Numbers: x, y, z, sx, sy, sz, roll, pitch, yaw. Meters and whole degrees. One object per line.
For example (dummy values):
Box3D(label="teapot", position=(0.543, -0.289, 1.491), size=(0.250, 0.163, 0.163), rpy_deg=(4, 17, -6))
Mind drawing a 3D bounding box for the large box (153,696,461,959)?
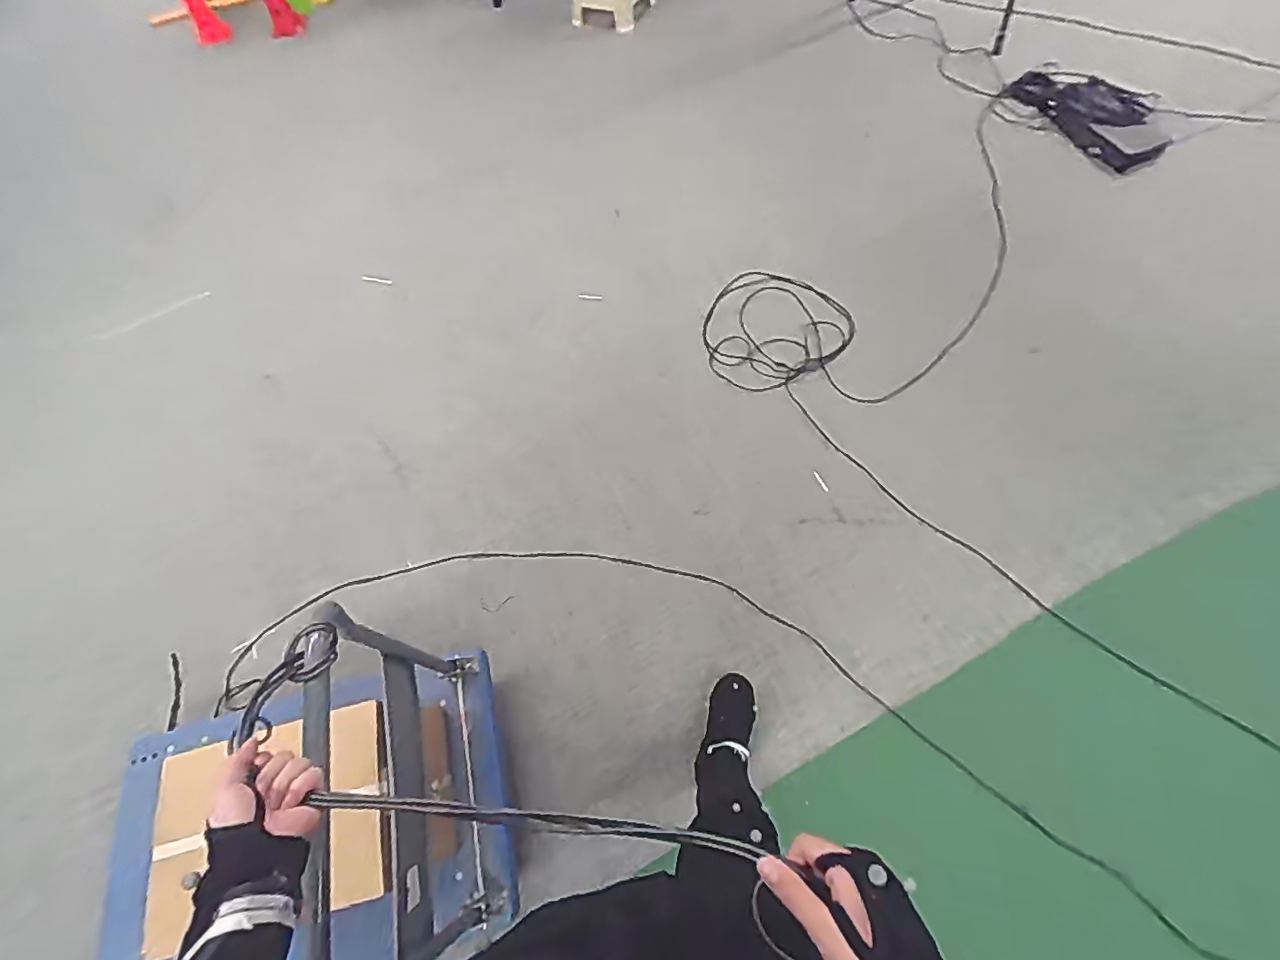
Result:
Box3D(label="large box", position=(-0.623, 0.651, 1.077), size=(0.408, 0.320, 0.320), rpy_deg=(-16, 64, -1))
